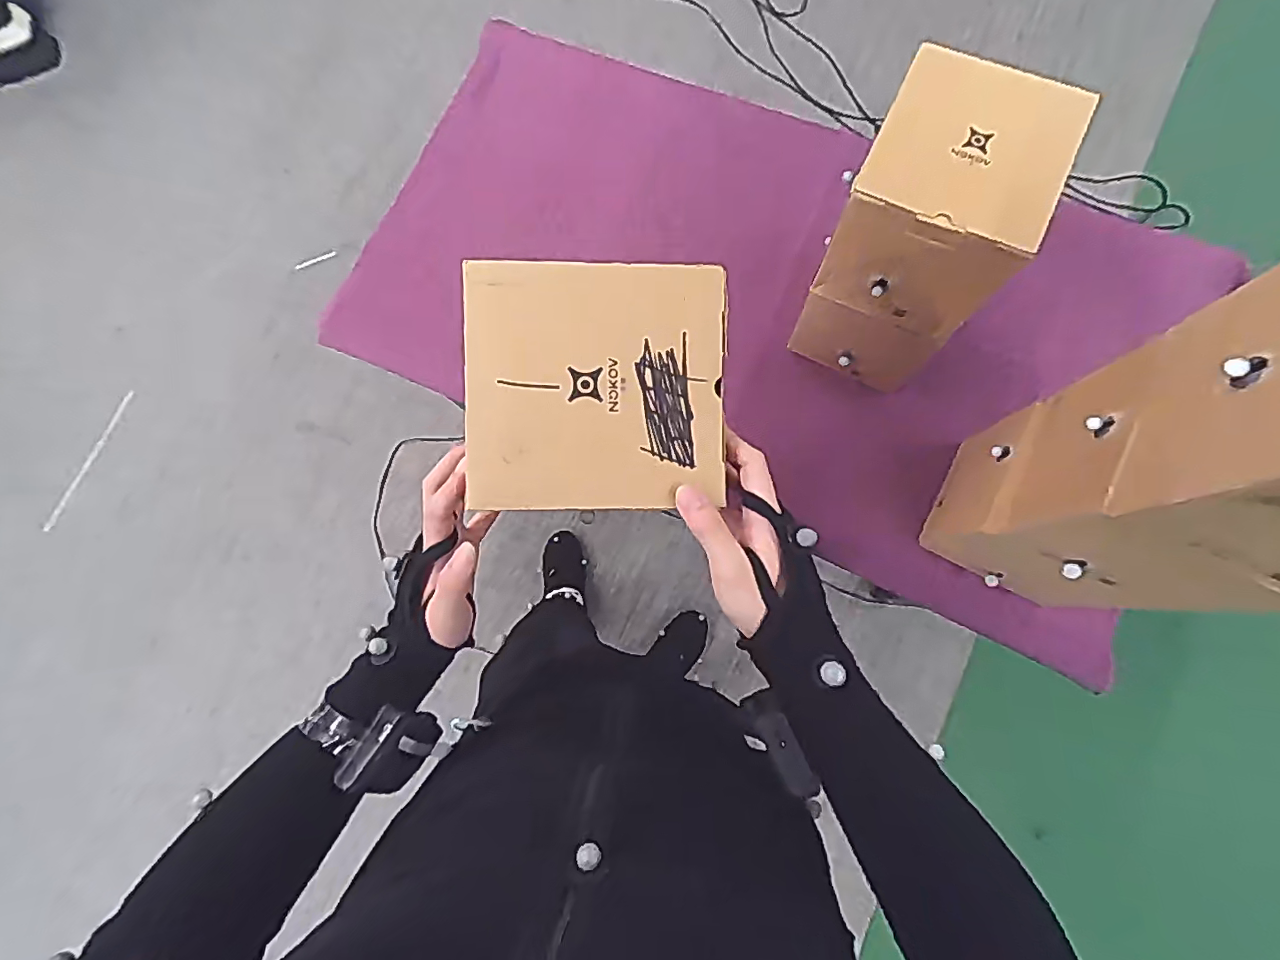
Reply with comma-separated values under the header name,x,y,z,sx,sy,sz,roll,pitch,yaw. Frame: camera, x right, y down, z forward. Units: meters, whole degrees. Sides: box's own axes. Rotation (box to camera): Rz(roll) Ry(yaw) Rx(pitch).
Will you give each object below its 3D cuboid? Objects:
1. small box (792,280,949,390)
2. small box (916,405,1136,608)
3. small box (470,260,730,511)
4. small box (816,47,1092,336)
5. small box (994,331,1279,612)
name,x,y,z,sx,sy,sz,roll,pitch,yaw
small box,0.323,-0.251,0.726,0.168,0.176,0.179,28,83,9
small box,0.481,0.038,0.659,0.179,0.176,0.168,28,81,10
small box,-0.032,-0.064,0.443,0.179,0.176,0.168,0,91,-4
small box,0.306,-0.285,0.568,0.168,0.176,0.179,25,83,8
small box,0.473,0.003,0.499,0.168,0.176,0.179,28,82,10
